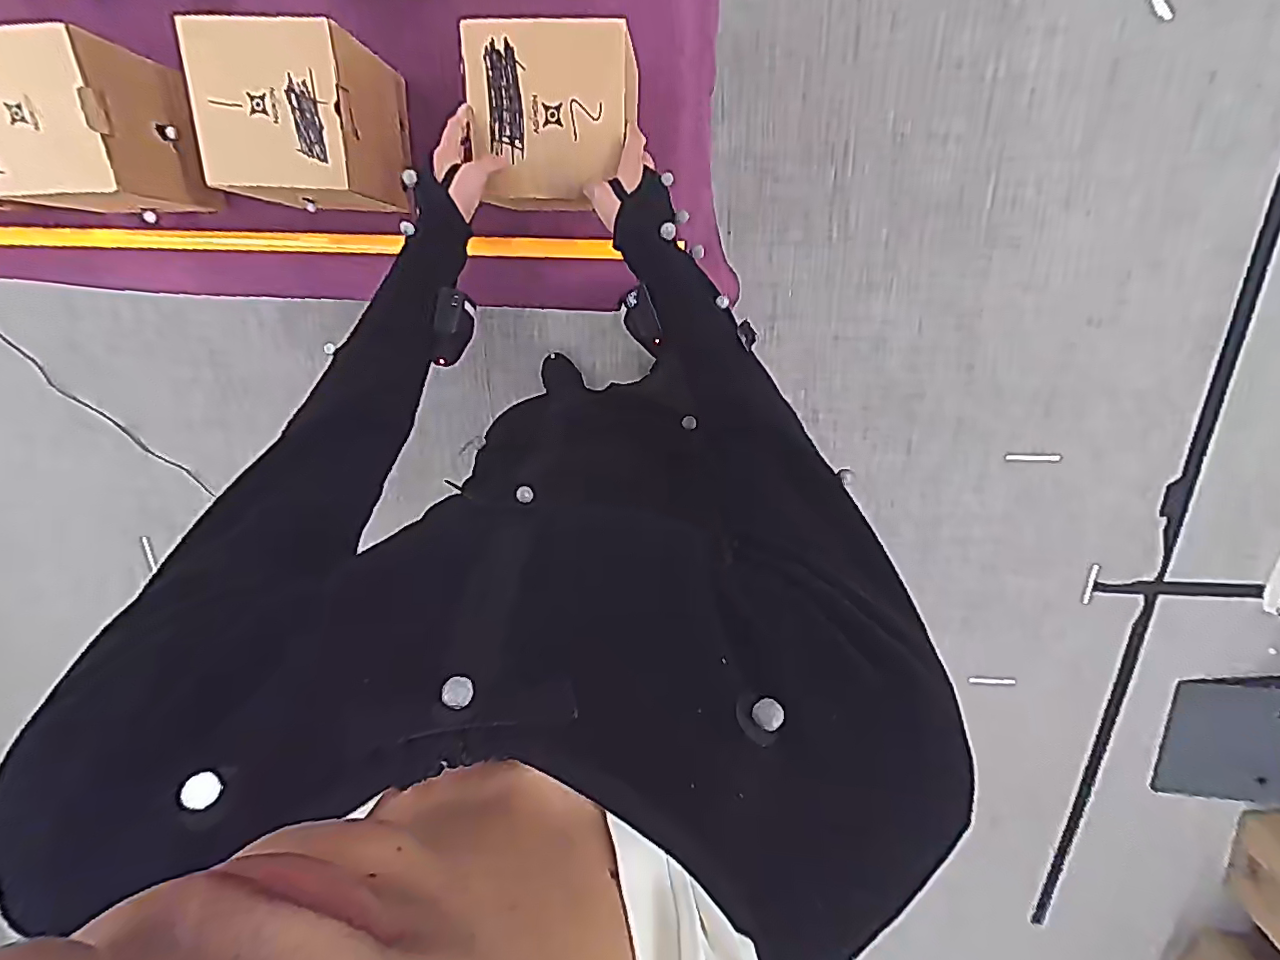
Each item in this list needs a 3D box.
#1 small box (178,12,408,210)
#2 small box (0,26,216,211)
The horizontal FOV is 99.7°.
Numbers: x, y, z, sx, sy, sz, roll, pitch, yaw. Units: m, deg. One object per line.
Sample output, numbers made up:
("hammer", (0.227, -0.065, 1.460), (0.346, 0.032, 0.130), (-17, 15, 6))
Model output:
("small box", (-0.409, -0.443, 0.677), (0.179, 0.176, 0.168), (4, 108, 3))
("small box", (-0.694, -0.447, 0.694), (0.179, 0.176, 0.168), (0, 110, 3))
